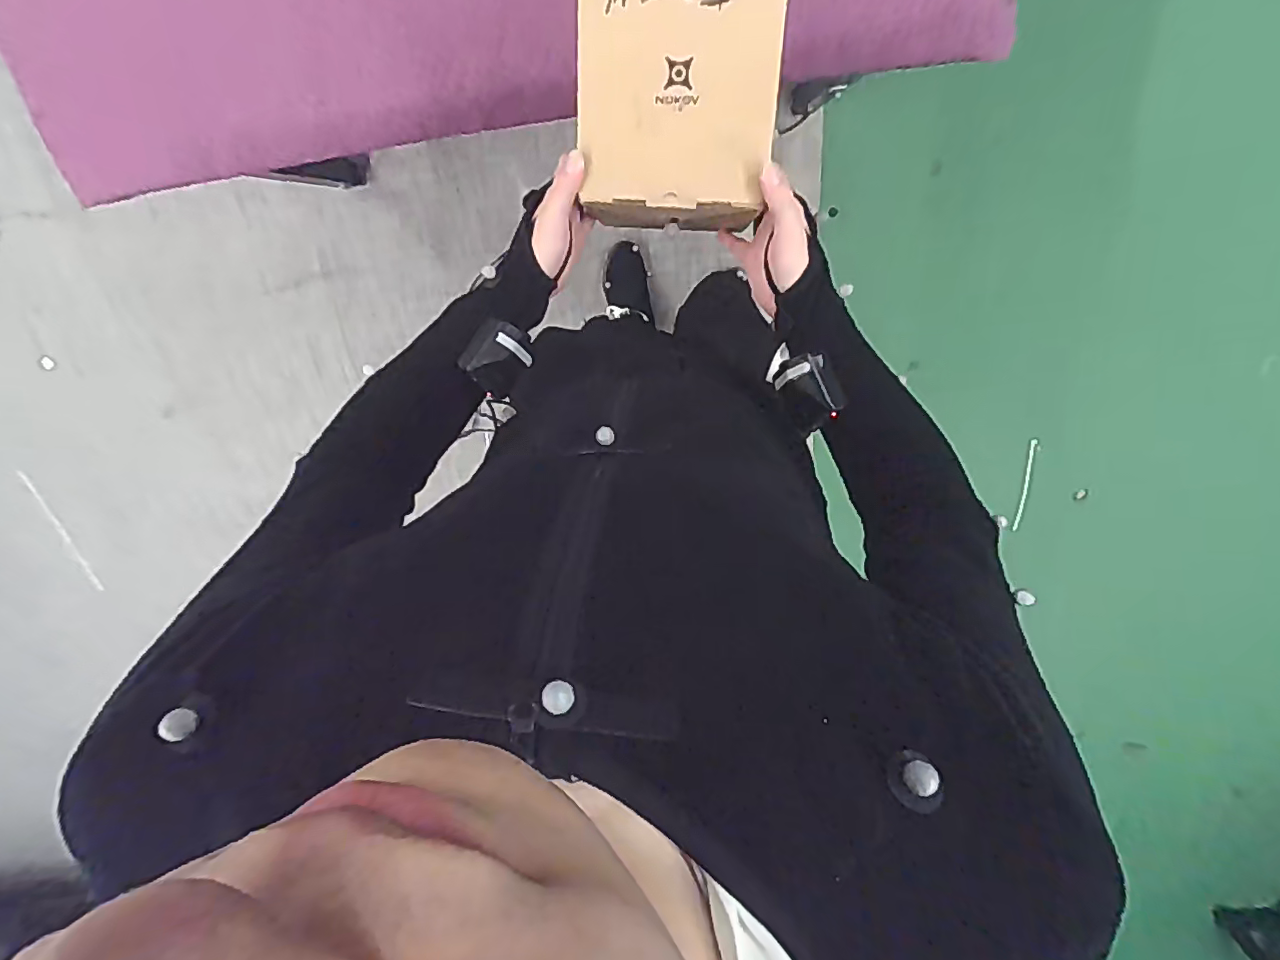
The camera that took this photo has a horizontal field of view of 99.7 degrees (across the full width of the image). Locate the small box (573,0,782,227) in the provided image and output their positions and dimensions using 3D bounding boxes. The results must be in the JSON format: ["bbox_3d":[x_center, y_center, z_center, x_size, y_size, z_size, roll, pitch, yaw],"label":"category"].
[{"bbox_3d":[0.033,-0.347,0.518,0.168,0.176,0.179,4,109,3],"label":"small box"}]

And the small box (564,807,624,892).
[{"bbox_3d":[-0.139,1.158,1.701,0.168,0.176,0.179,-2,116,3],"label":"small box"}]
